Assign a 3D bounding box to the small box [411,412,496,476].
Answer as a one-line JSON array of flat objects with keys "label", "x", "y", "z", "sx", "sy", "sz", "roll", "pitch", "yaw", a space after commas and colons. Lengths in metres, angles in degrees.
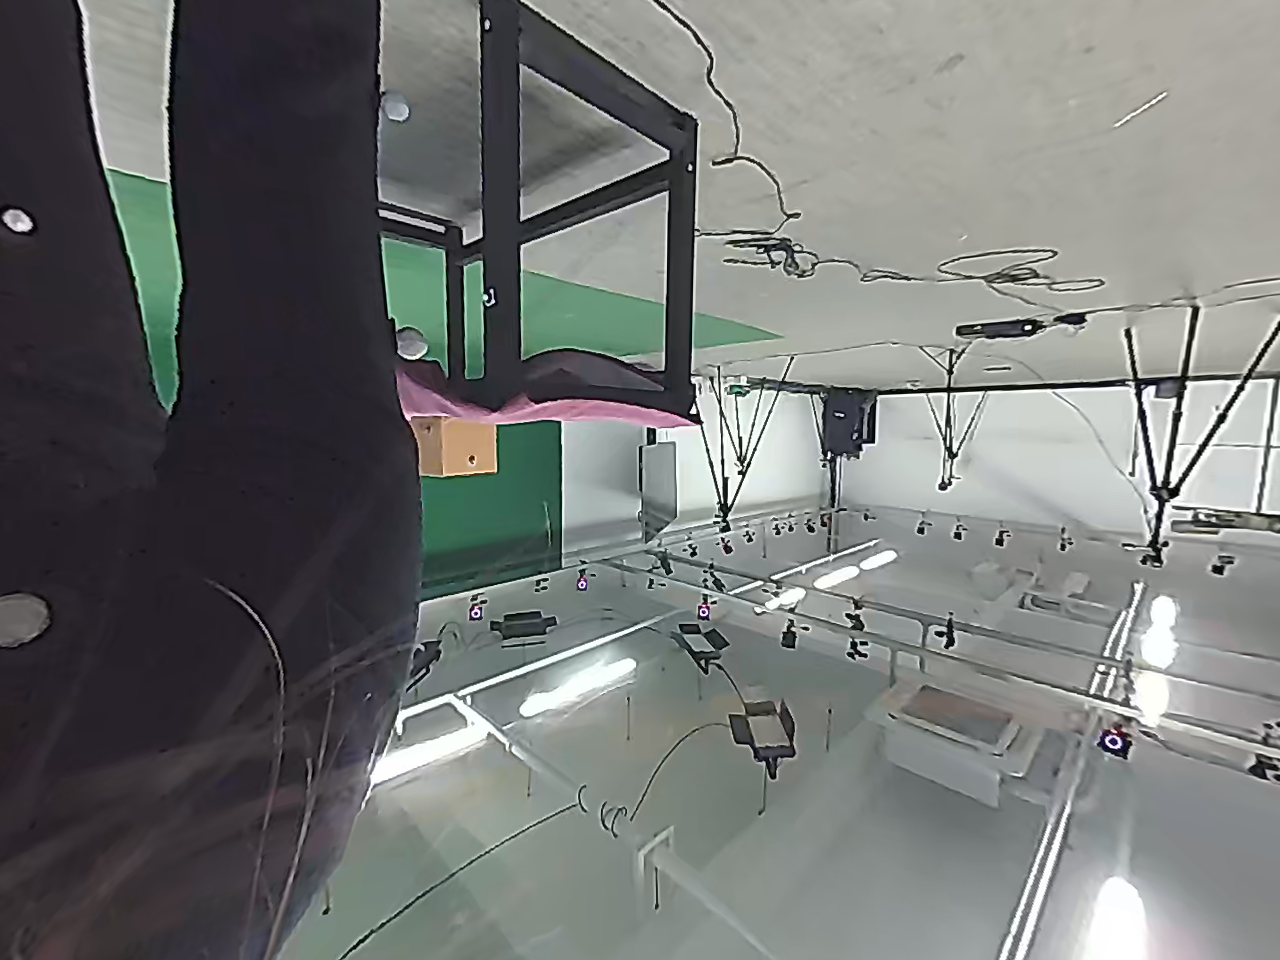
[{"label": "small box", "x": -0.534, "y": -0.106, "z": 1.551, "sx": 0.168, "sy": 0.176, "sz": 0.179, "roll": 4, "pitch": -174, "yaw": 39}]
